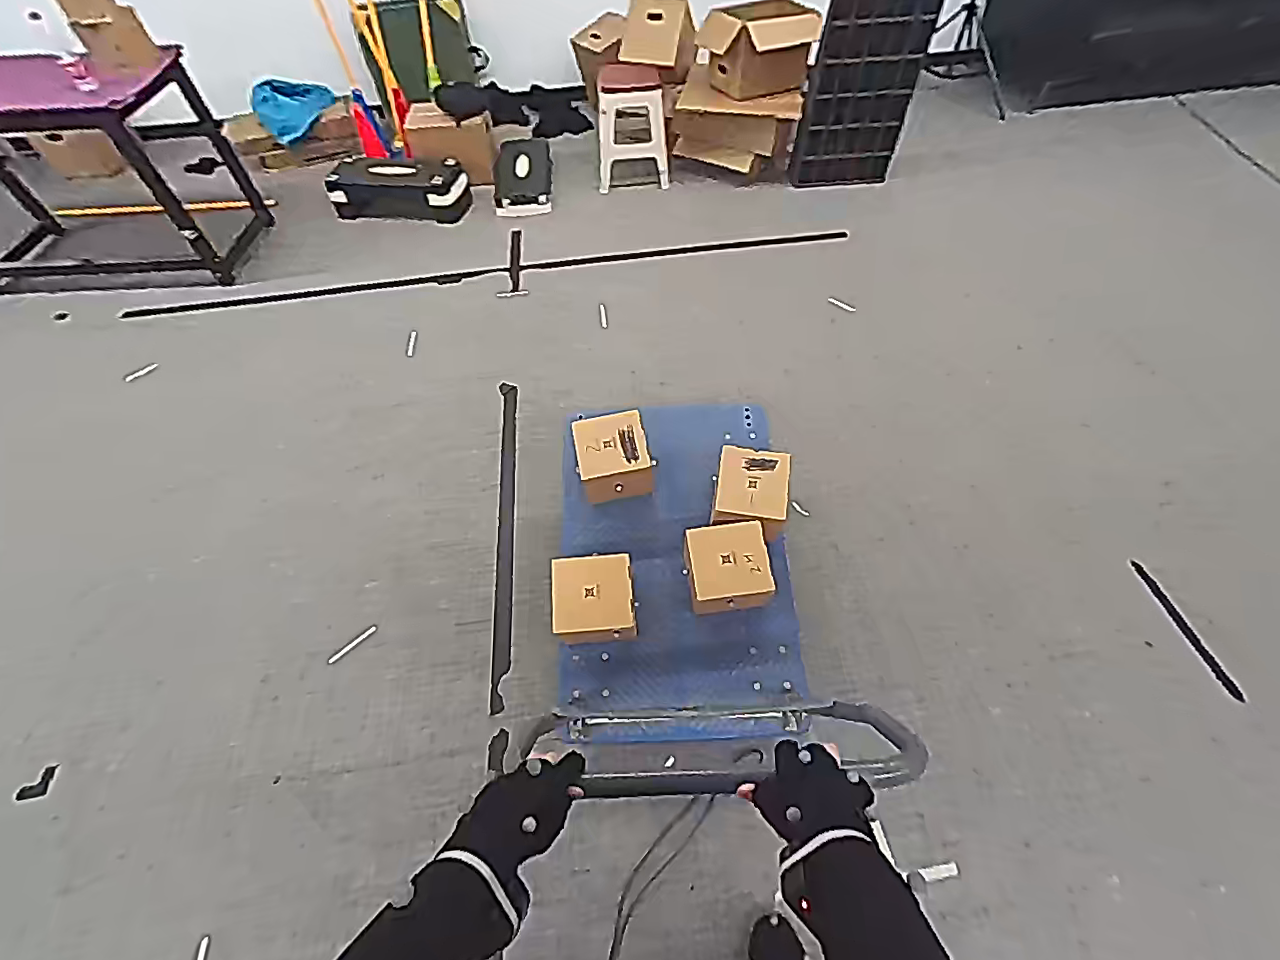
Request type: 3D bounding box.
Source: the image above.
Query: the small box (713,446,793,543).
[{"bbox_3d":[0.276,0.039,1.348,0.168,0.176,0.179,9,67,7],"label":"small box"}]

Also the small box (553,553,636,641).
[{"bbox_3d":[-0.102,0.277,1.257,0.179,0.176,0.168,-4,66,-1],"label":"small box"}]

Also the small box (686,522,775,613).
[{"bbox_3d":[0.205,0.212,1.273,0.179,0.176,0.168,-6,66,0],"label":"small box"}]
